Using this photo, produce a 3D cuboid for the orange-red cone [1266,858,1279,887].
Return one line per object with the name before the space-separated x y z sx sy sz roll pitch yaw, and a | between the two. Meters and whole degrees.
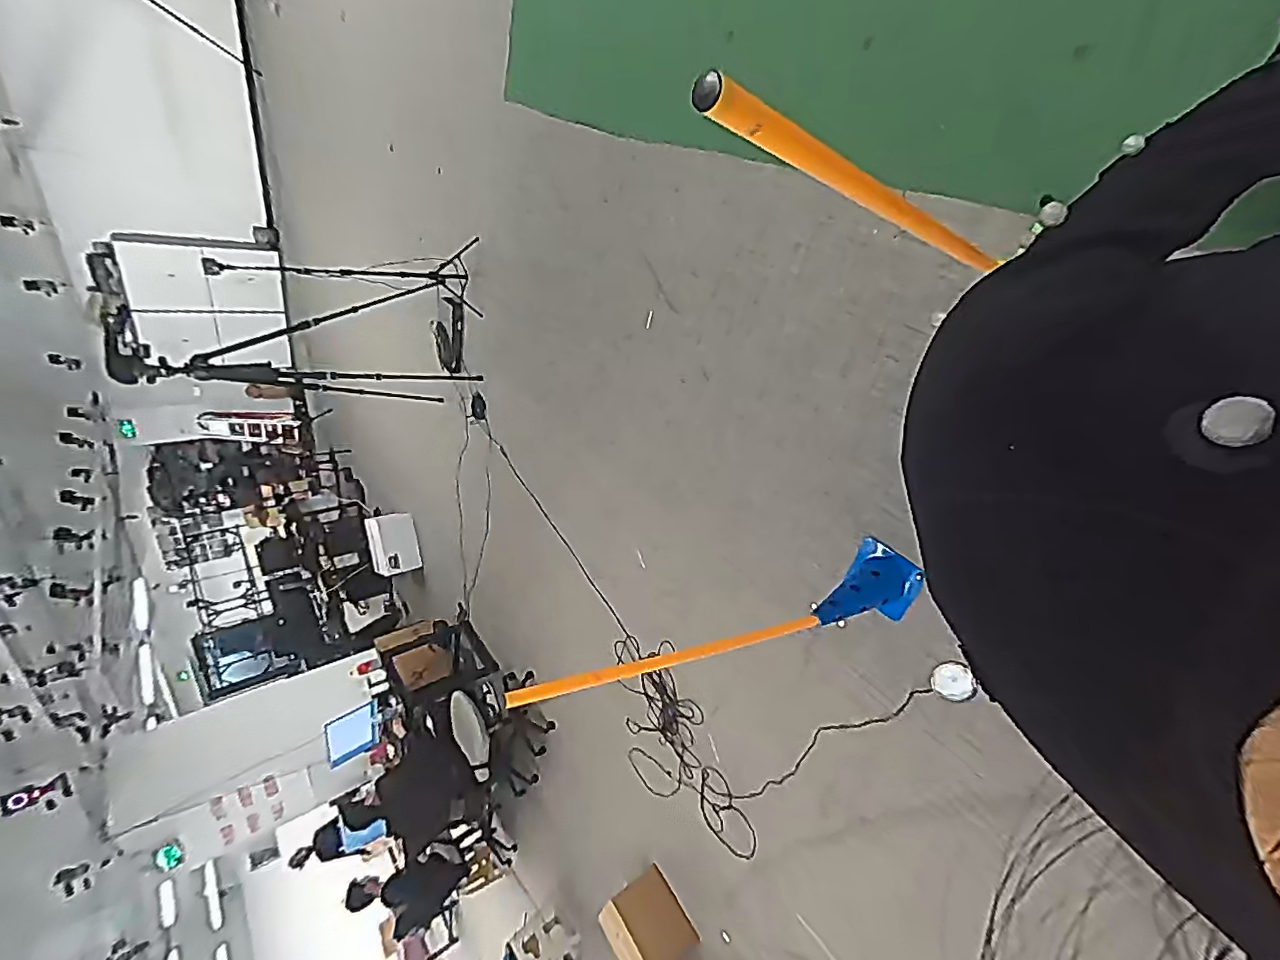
orange-red cone | 1.227 0.807 0.908 0.199 0.360 0.198 41 130 39
